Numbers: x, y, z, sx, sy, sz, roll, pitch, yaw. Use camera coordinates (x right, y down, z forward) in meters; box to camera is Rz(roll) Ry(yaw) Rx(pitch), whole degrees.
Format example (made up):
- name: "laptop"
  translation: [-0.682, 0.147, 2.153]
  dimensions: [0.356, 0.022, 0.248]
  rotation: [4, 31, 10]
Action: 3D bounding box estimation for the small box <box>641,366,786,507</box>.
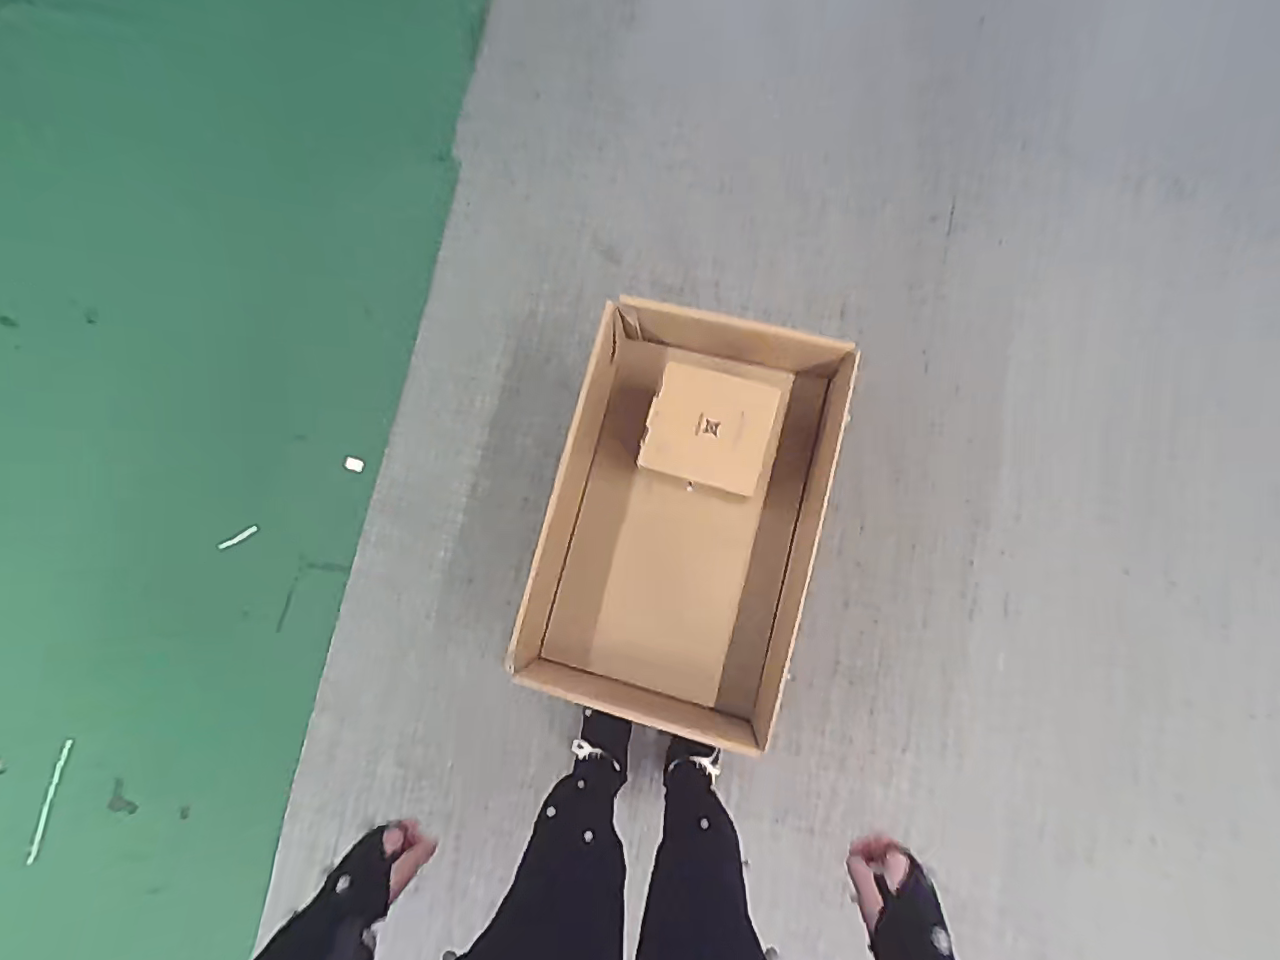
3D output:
- name: "small box"
  translation: [0.112, -0.060, 0.866]
  dimensions: [0.179, 0.176, 0.168]
  rotation: [17, 84, 6]
